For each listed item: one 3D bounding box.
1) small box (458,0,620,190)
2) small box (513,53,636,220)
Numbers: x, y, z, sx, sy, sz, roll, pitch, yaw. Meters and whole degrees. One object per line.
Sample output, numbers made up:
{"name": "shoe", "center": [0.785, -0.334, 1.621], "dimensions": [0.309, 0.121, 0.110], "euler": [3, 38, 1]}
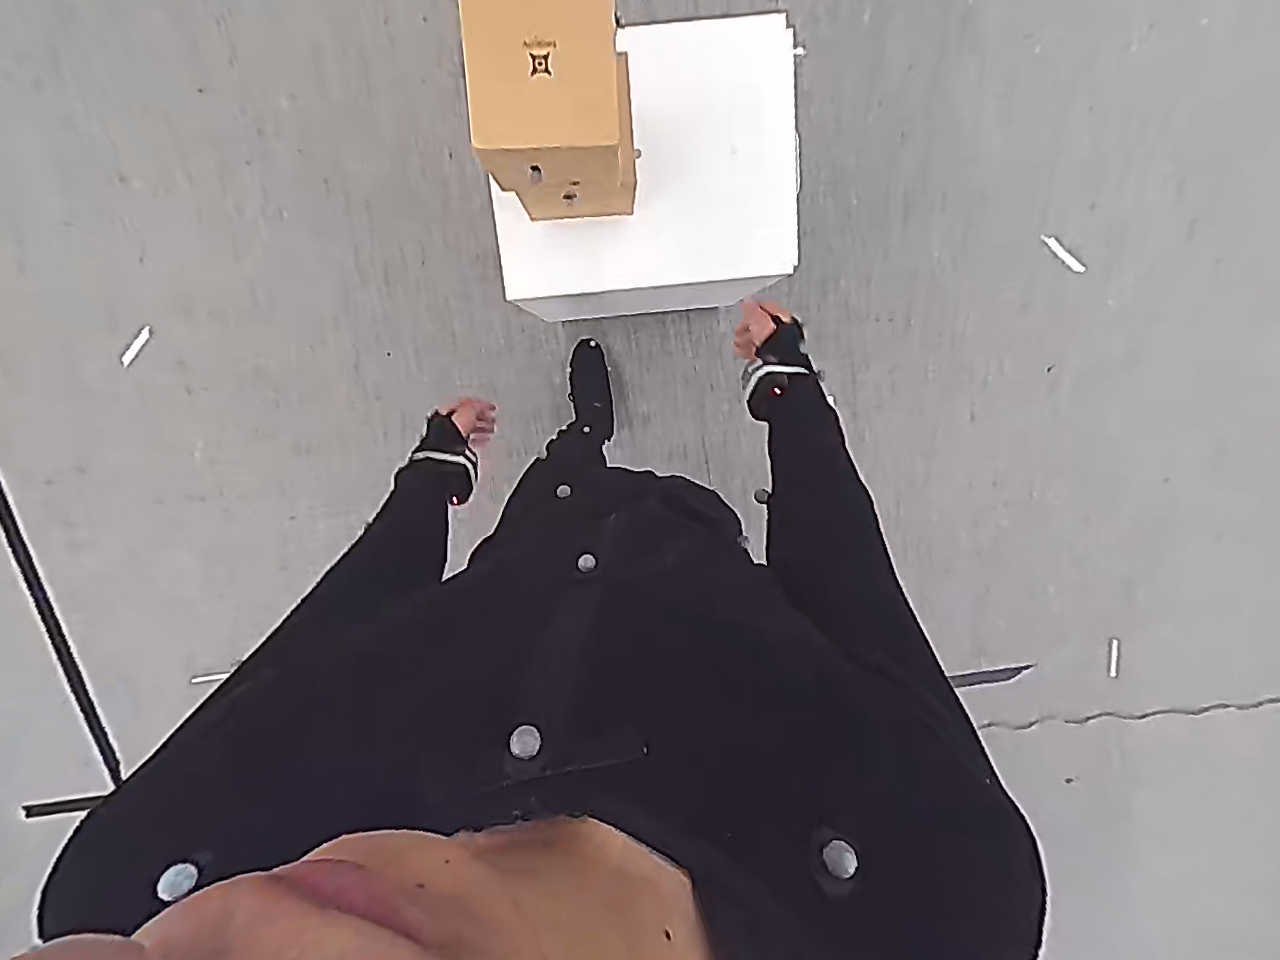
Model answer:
{"name": "small box", "center": [-0.111, -0.469, 0.661], "dimensions": [0.168, 0.176, 0.179], "euler": [-3, 102, -2]}
{"name": "small box", "center": [-0.100, -0.506, 0.820], "dimensions": [0.179, 0.176, 0.168], "euler": [-5, 103, -2]}
